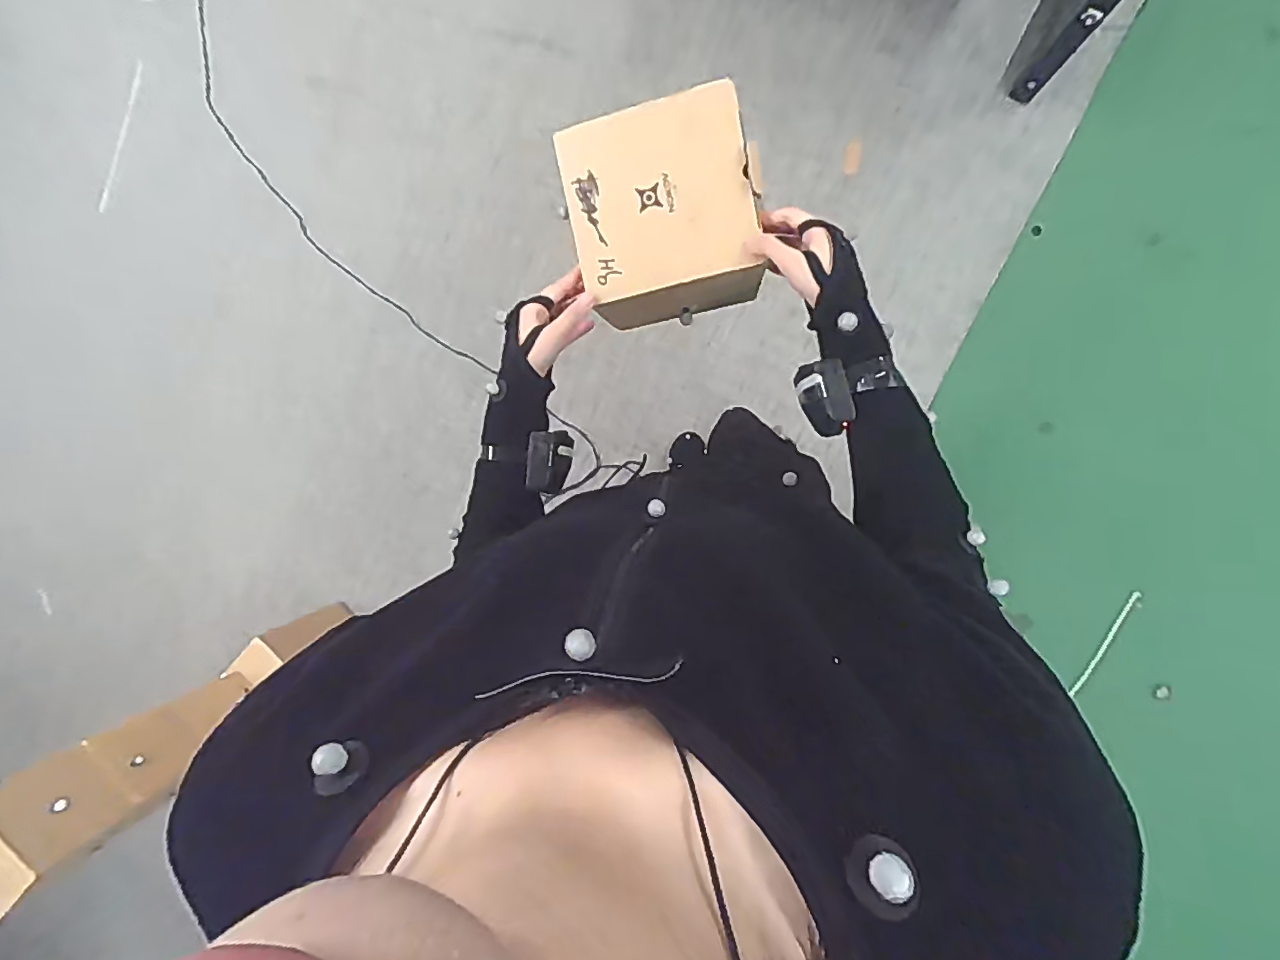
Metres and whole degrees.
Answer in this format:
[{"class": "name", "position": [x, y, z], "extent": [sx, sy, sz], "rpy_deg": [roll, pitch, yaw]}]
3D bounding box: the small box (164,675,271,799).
[{"class": "small box", "position": [-1.058, 0.618, 1.318], "extent": [0.168, 0.176, 0.179], "rpy_deg": [44, 100, 3]}]

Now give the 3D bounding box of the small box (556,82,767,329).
[{"class": "small box", "position": [0.028, -0.272, 0.580], "extent": [0.179, 0.176, 0.168], "rpy_deg": [-10, 94, 8]}]

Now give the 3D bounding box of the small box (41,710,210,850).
[{"class": "small box", "position": [-1.091, 0.626, 1.159], "extent": [0.168, 0.176, 0.179], "rpy_deg": [-45, 88, 10]}]
